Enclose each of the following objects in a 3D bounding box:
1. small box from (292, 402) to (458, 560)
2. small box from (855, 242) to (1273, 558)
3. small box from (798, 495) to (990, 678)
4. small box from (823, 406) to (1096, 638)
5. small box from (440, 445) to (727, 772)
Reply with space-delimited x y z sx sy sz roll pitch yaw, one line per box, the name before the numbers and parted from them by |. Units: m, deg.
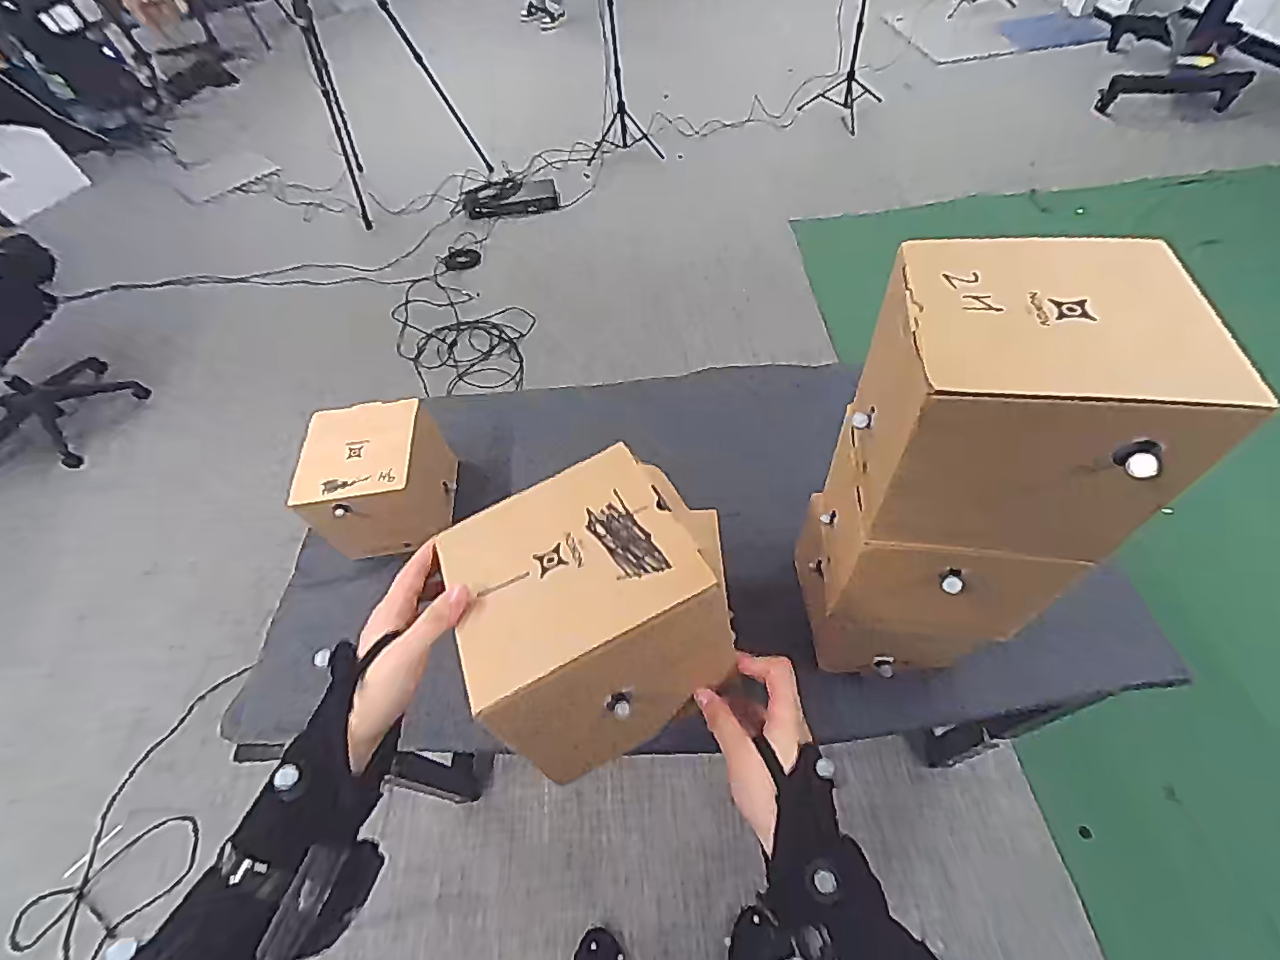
small box | -0.399 0.004 0.853 0.168 0.176 0.179 -8 54 0
small box | 0.273 -0.056 0.408 0.179 0.176 0.168 4 53 12
small box | 0.304 0.131 0.675 0.168 0.176 0.179 -6 53 4
small box | 0.288 0.045 0.538 0.179 0.176 0.168 3 53 11
small box | -0.038 0.108 0.454 0.179 0.176 0.168 -26 46 -7
